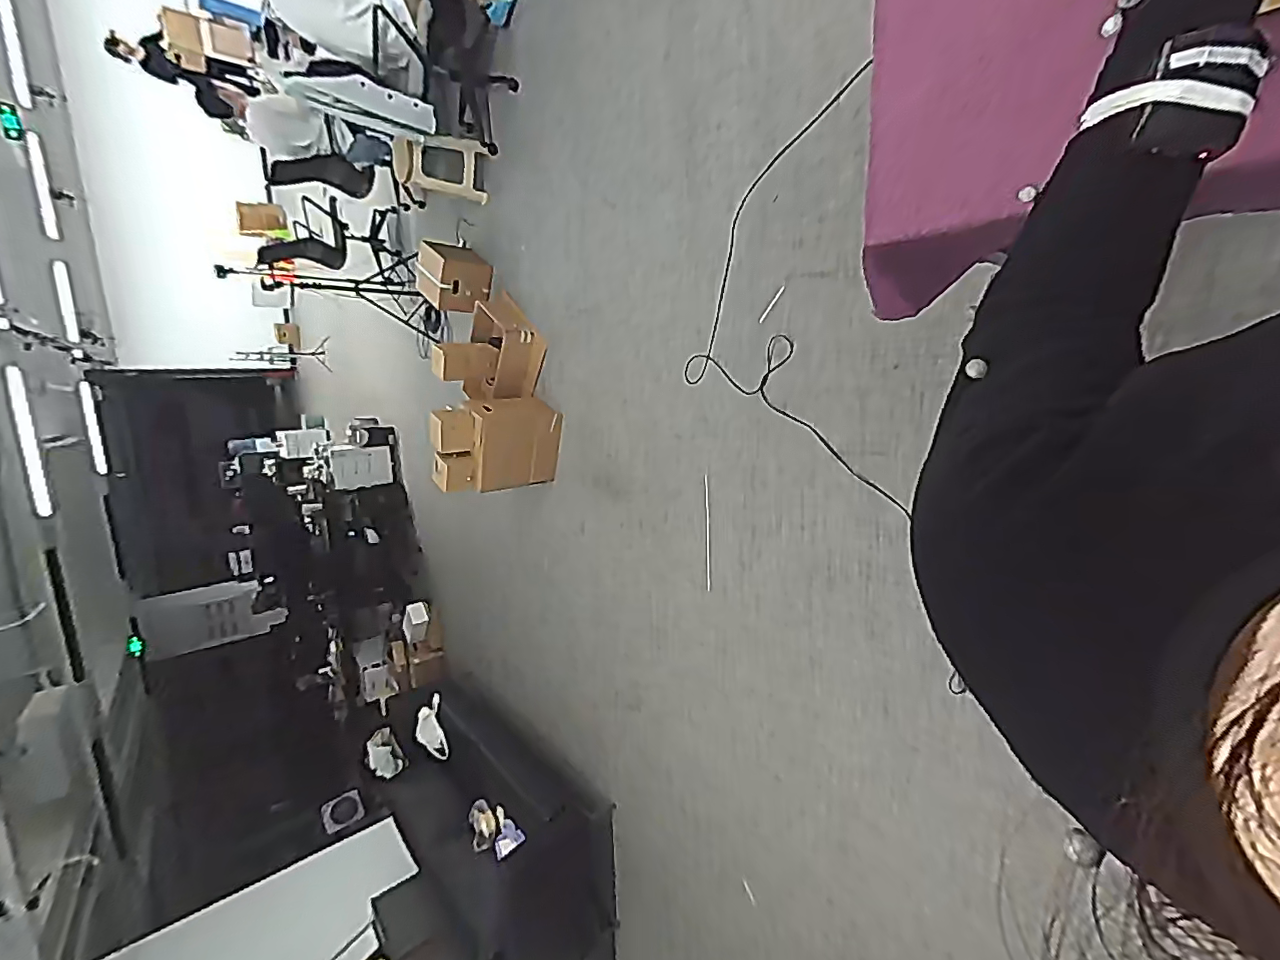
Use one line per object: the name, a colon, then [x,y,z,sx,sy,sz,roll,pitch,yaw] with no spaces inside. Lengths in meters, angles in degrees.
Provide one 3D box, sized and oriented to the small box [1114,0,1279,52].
small box: [0.494,-0.505,0.427,0.168,0.176,0.179,14,94,50]
